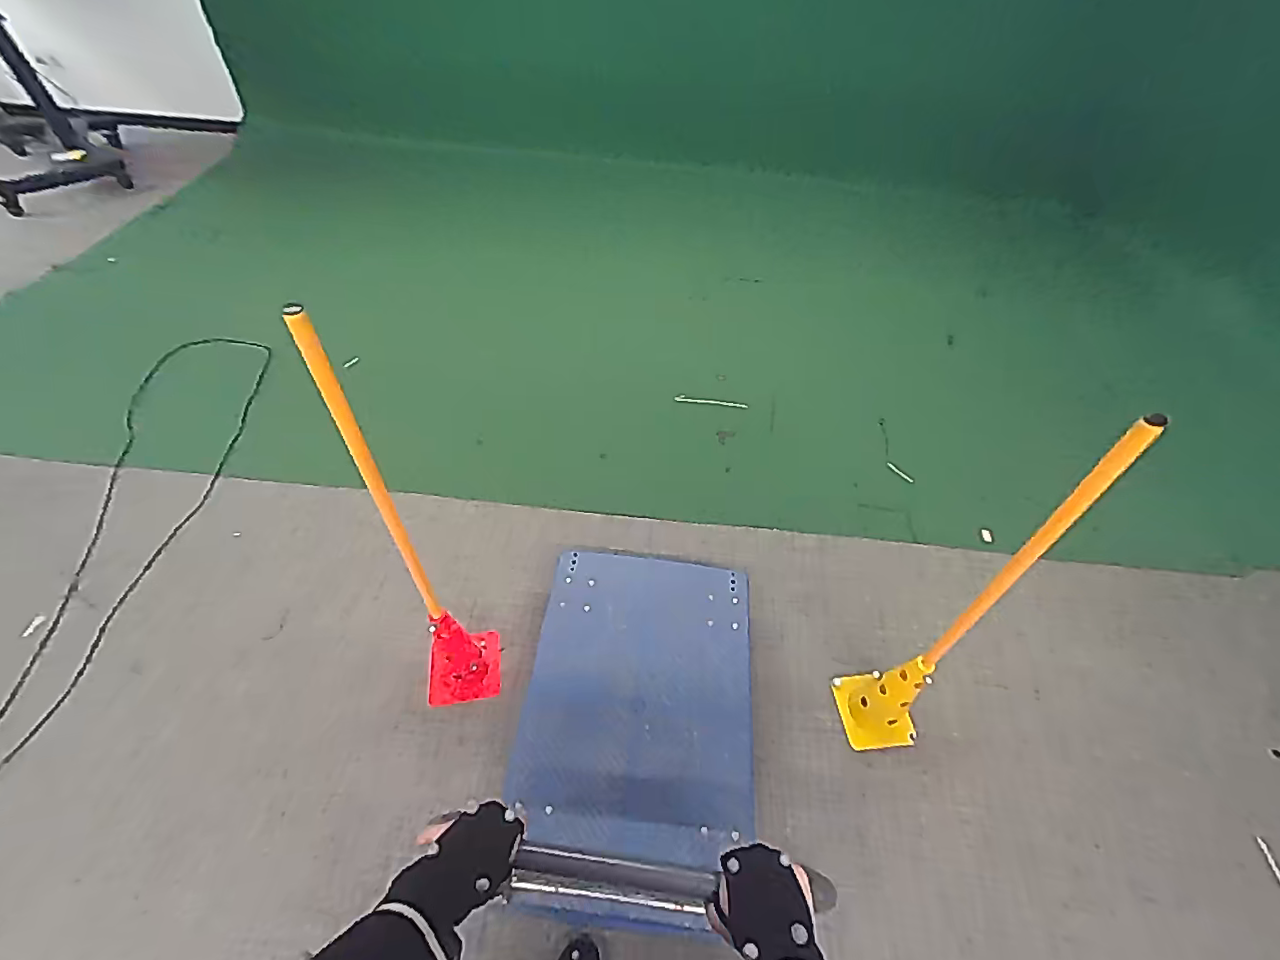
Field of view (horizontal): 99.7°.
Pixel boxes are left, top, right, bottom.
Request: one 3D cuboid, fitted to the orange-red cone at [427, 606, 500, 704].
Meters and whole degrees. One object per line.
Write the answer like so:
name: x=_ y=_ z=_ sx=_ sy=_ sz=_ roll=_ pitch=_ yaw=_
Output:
orange-red cone: x=-0.503 y=0.432 z=1.436 sx=0.199 sy=0.360 sz=0.198 roll=-6 pitch=51 yaw=-7
